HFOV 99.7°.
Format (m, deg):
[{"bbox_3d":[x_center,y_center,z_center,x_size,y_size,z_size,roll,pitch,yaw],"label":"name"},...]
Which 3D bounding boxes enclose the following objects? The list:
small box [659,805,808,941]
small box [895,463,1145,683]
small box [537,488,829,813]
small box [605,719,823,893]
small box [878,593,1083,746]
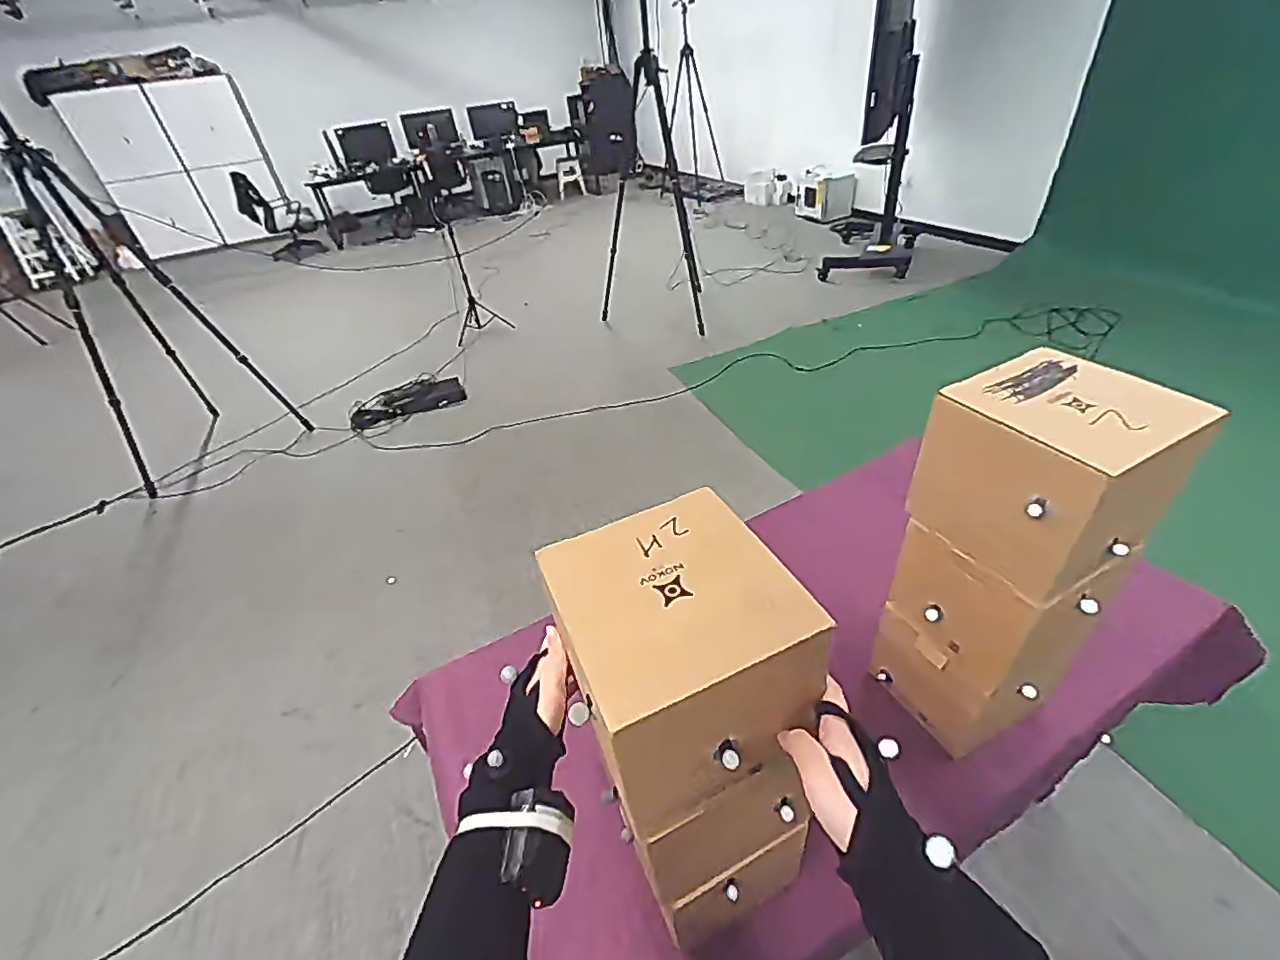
[{"bbox_3d":[0.077,0.397,0.652,0.168,0.176,0.179,-22,40,-15],"label":"small box"},{"bbox_3d":[0.449,0.113,0.672,0.179,0.176,0.168,-23,41,-16],"label":"small box"},{"bbox_3d":[0.030,0.141,0.450,0.168,0.176,0.179,-19,39,-15],"label":"small box"},{"bbox_3d":[0.057,0.270,0.551,0.179,0.176,0.168,-21,40,-14],"label":"small box"},{"bbox_3d":[0.466,0.240,0.772,0.179,0.176,0.168,-22,40,-17],"label":"small box"}]
